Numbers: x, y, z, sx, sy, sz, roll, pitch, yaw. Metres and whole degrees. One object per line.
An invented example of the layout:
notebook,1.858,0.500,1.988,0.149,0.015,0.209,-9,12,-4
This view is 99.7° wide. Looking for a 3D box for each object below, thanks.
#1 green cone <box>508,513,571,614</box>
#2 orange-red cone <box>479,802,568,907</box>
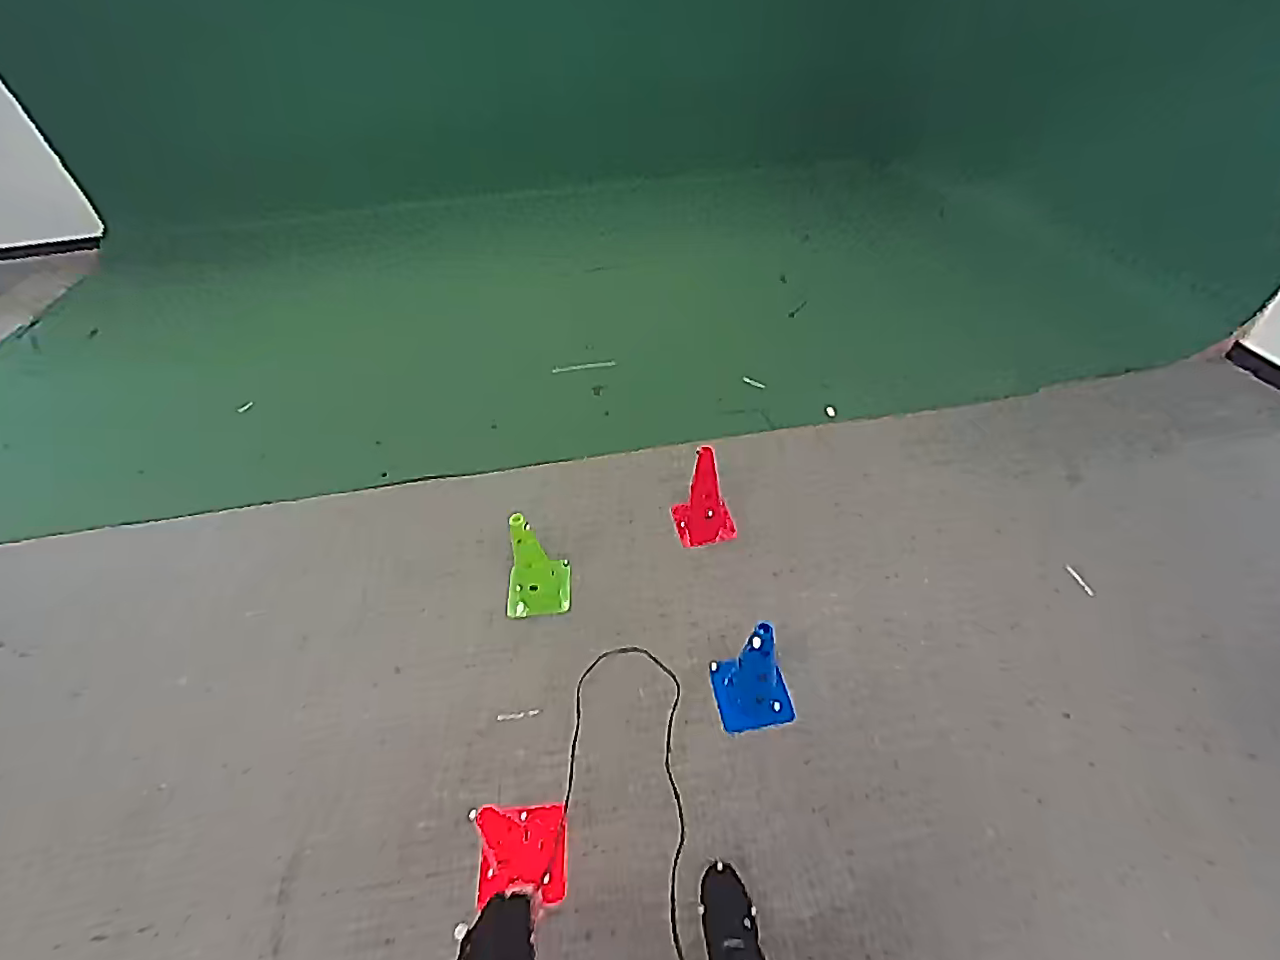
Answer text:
green cone,-0.339,0.225,1.649,0.200,0.368,0.202,-7,47,-2
orange-red cone,-0.275,0.749,1.143,0.198,0.360,0.199,-4,44,-1
